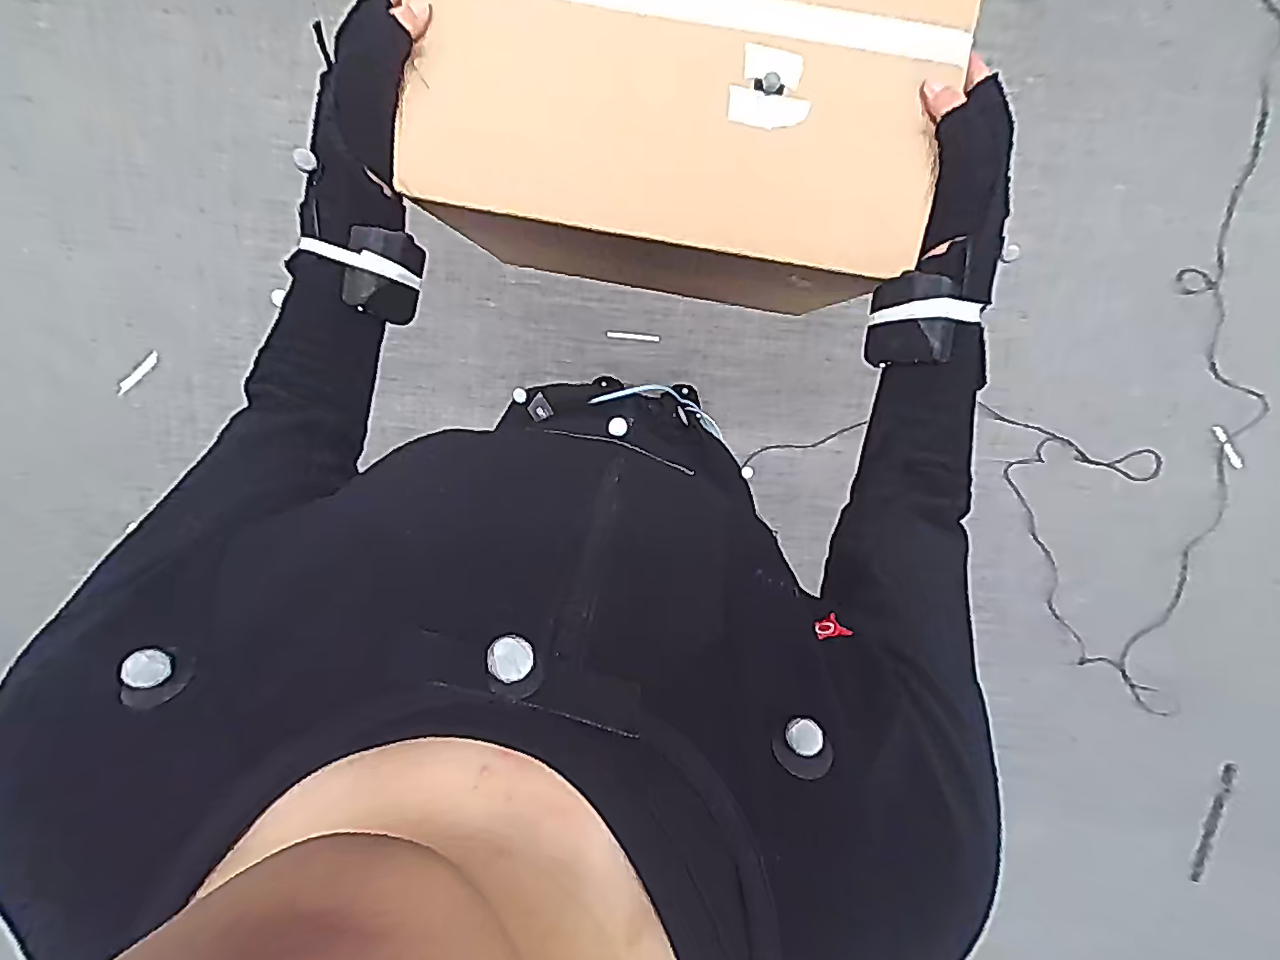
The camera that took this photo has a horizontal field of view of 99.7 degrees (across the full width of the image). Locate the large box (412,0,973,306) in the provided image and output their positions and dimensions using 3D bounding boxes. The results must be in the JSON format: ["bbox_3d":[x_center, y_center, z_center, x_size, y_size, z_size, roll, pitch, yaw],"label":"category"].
[{"bbox_3d":[0.039,-0.375,0.539,0.408,0.320,0.320,10,103,-2],"label":"large box"}]
